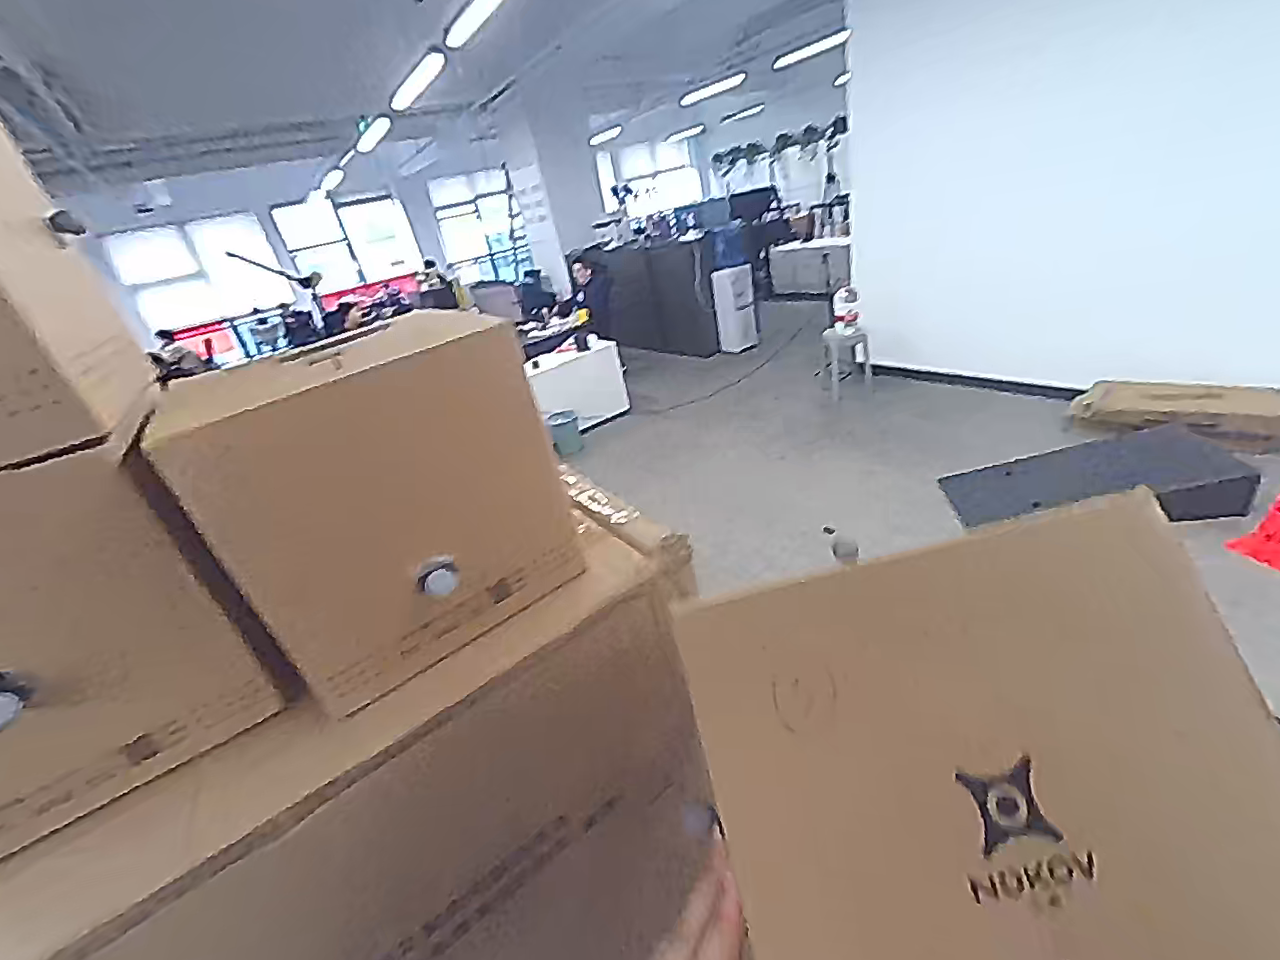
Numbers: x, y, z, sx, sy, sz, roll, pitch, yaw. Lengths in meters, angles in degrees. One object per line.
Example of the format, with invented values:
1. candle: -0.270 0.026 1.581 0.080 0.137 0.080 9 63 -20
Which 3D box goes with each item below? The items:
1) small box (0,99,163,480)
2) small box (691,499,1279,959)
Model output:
1. small box: -0.348 -0.082 0.228 0.168 0.176 0.179 -28 32 -27
2. small box: 0.120 0.126 0.246 0.168 0.179 0.176 -14 -16 3
